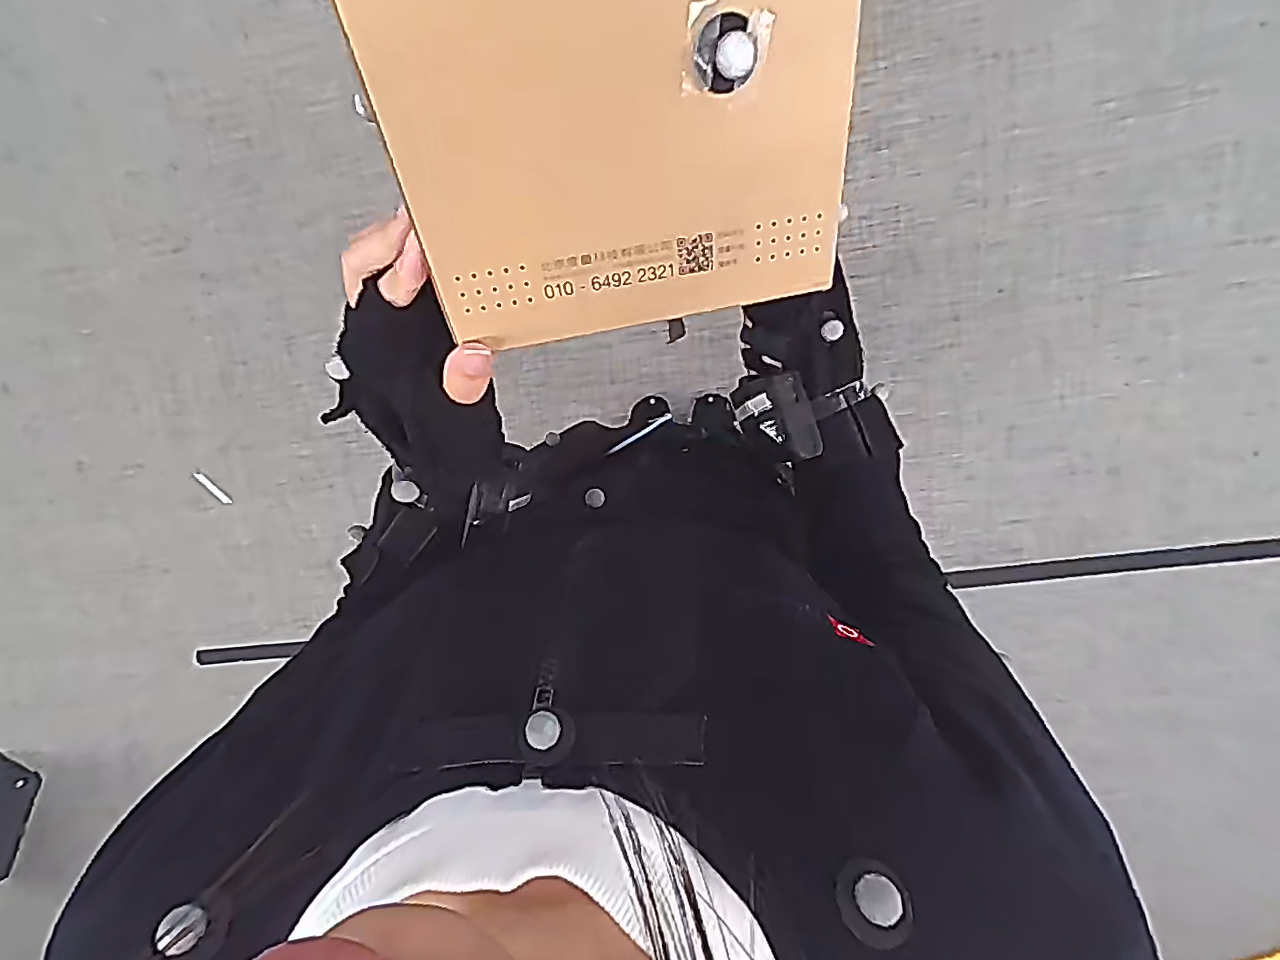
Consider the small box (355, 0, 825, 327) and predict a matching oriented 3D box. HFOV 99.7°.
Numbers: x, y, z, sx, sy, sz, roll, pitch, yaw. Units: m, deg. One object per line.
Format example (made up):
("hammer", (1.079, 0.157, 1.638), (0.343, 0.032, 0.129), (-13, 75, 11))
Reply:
("small box", (-0.018, -0.186, 0.266), (0.168, 0.179, 0.176), (-10, 129, -2))
